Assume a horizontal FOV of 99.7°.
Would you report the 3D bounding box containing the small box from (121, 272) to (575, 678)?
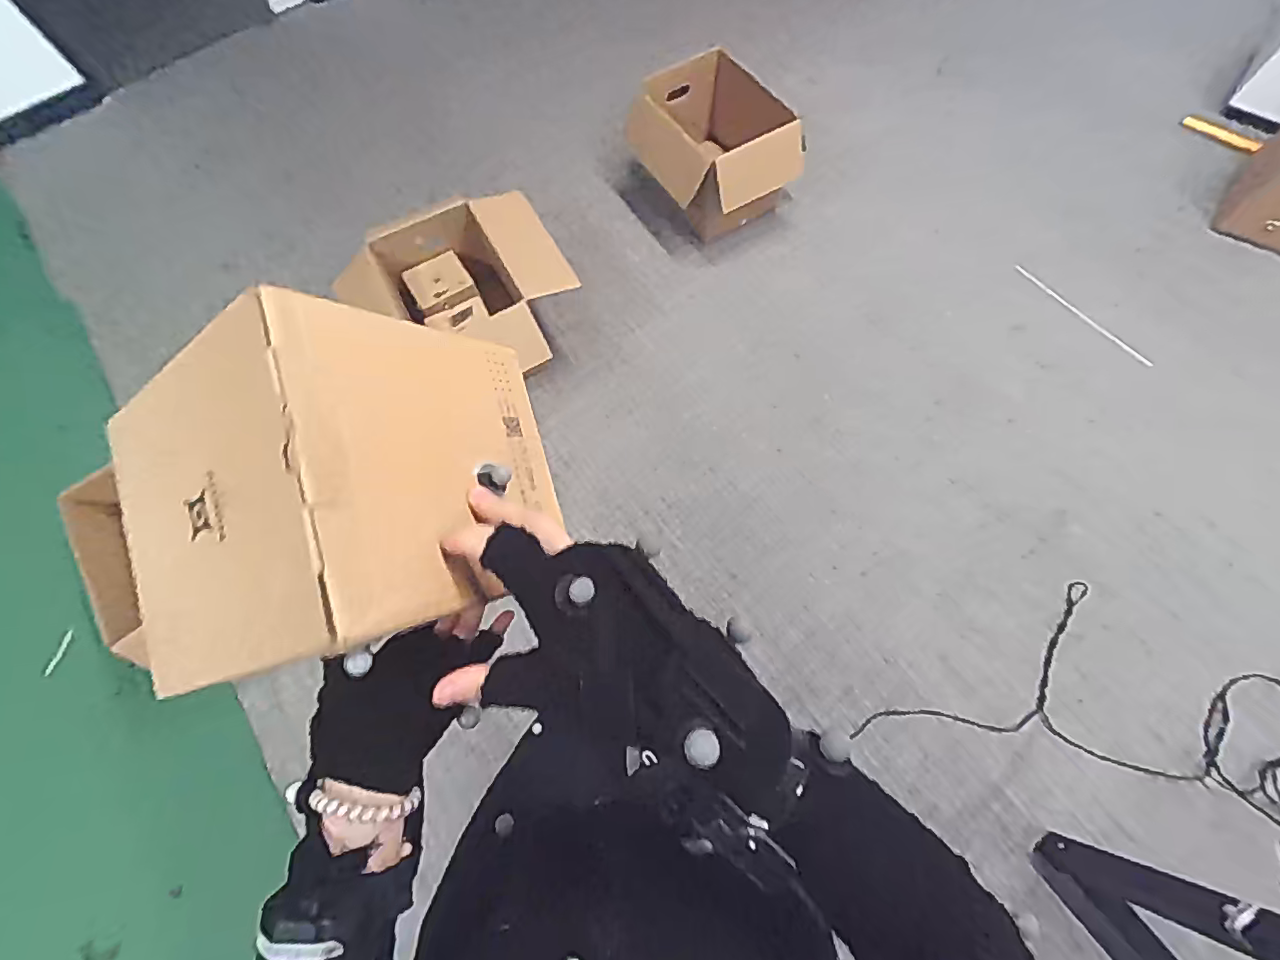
[{"bbox_3d":[-0.170,0.006,0.338,0.179,0.176,0.168,-19,84,27],"label":"small box"}]
